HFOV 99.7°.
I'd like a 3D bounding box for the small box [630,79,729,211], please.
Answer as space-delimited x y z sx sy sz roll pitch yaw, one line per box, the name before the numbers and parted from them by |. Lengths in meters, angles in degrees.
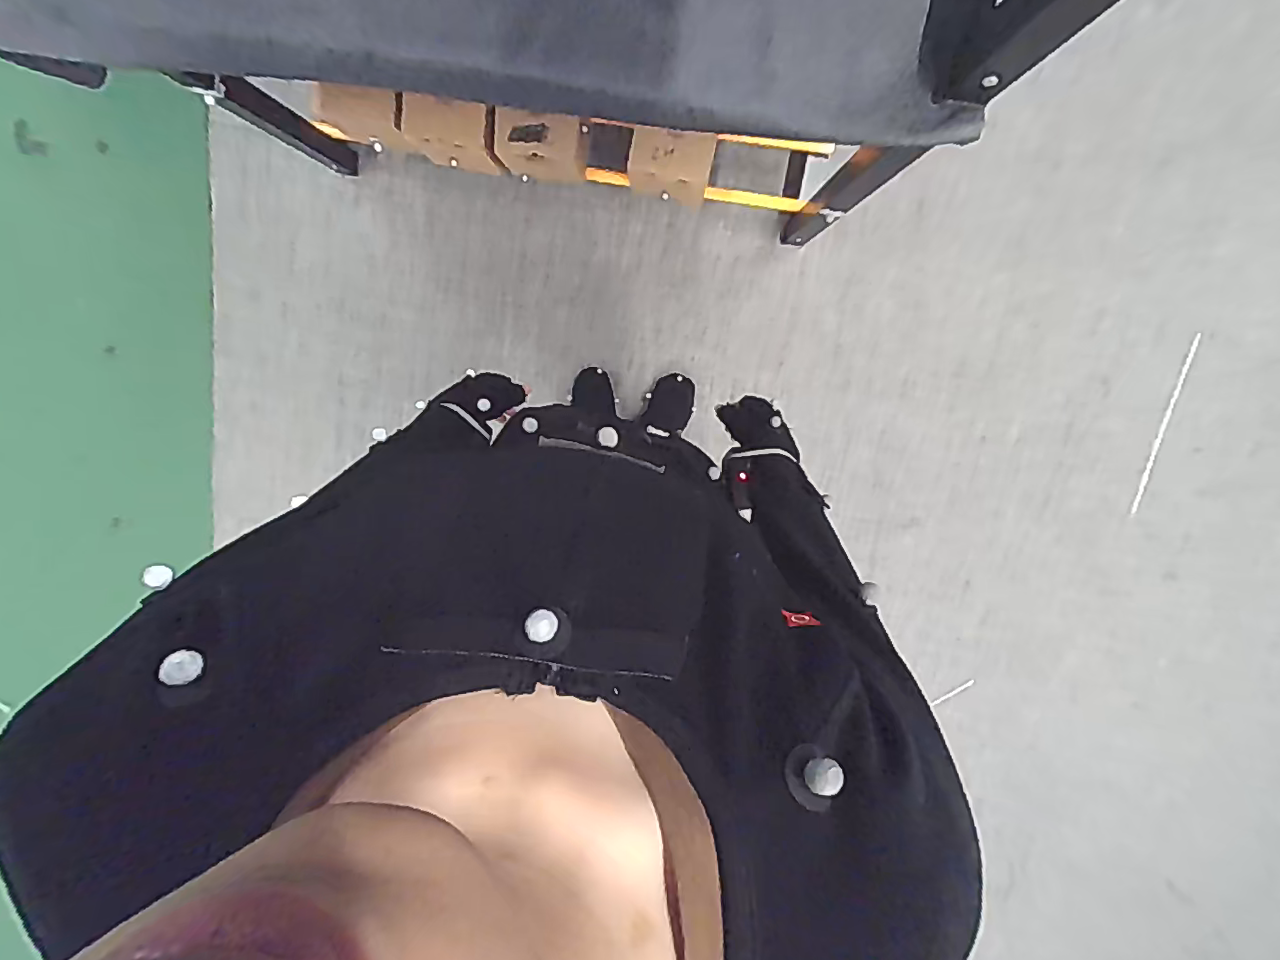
small box | 0.079 -0.701 1.151 0.168 0.176 0.179 14 105 0
